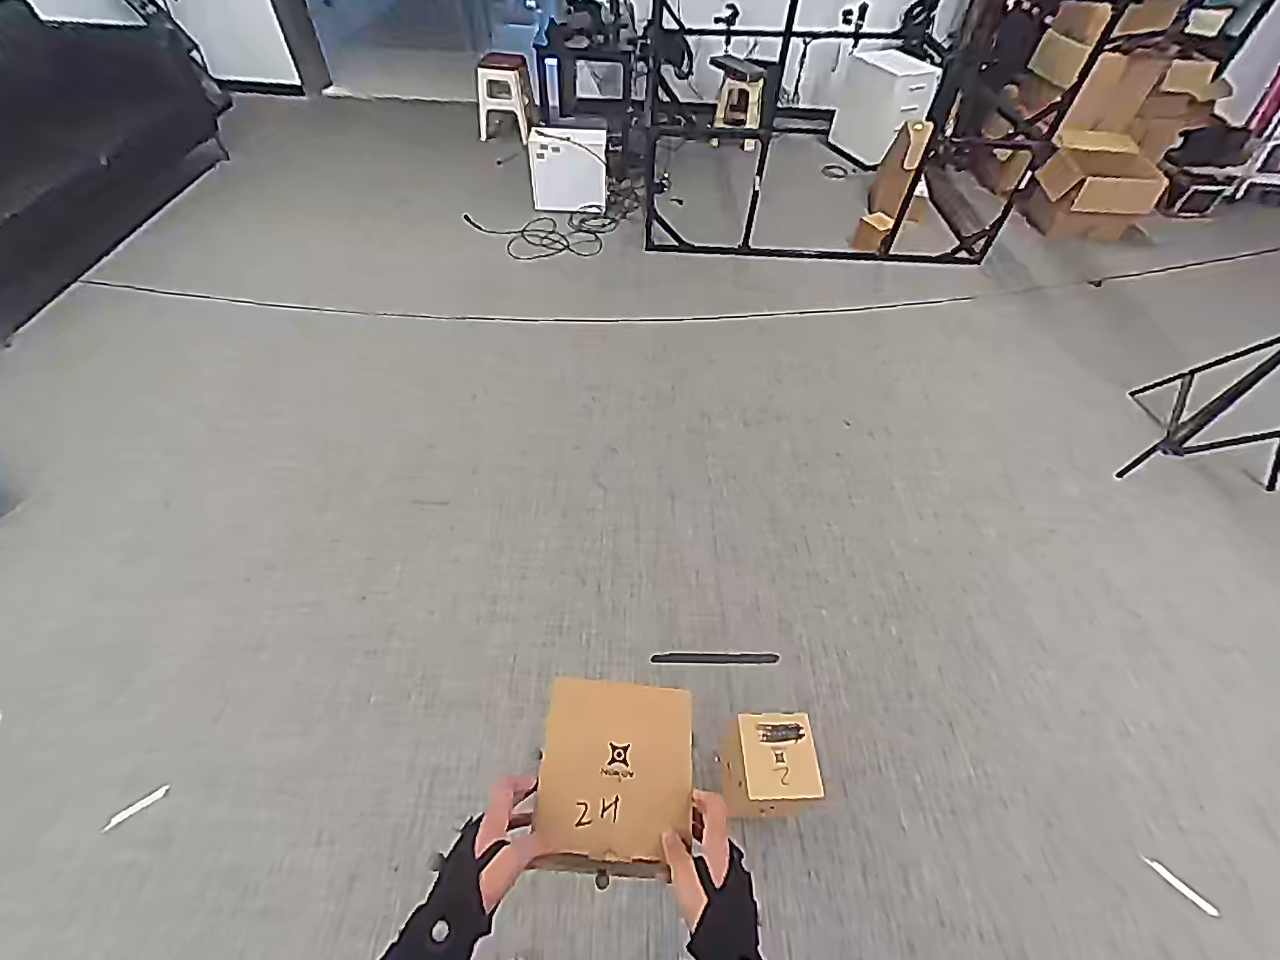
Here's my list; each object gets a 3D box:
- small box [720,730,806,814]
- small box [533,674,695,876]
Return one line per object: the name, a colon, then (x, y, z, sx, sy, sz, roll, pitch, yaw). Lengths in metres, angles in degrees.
small box: (0.305, 0.754, 1.390, 0.179, 0.176, 0.168, 1, 52, -3)
small box: (-0.030, 0.358, 0.654, 0.168, 0.176, 0.179, 7, 50, -2)
